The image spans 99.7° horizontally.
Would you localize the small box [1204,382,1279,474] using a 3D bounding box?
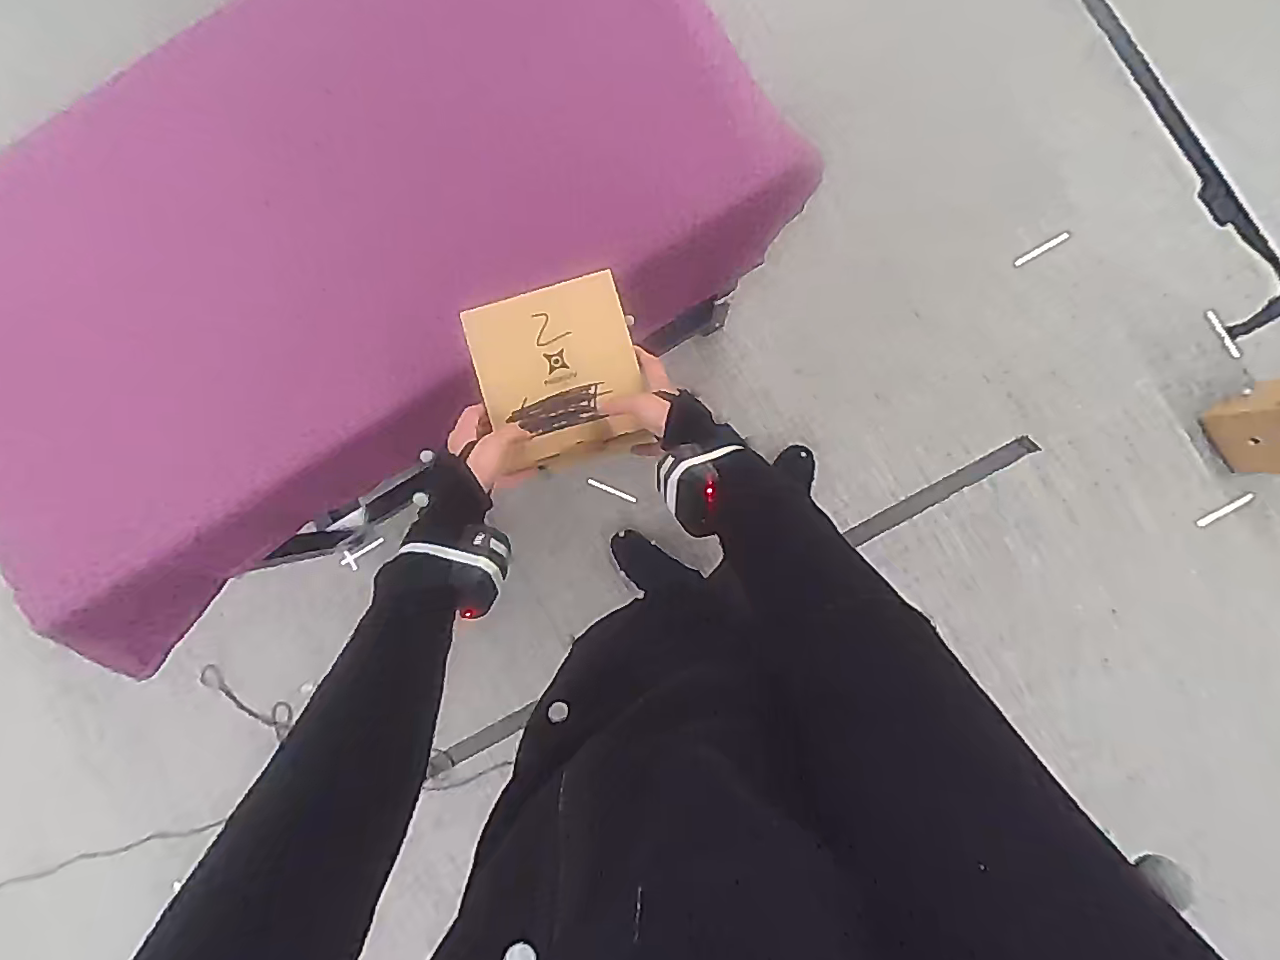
[{"bbox_3d":[1.513,-0.125,1.265,0.168,0.176,0.179,-32,88,3],"label":"small box"}]
